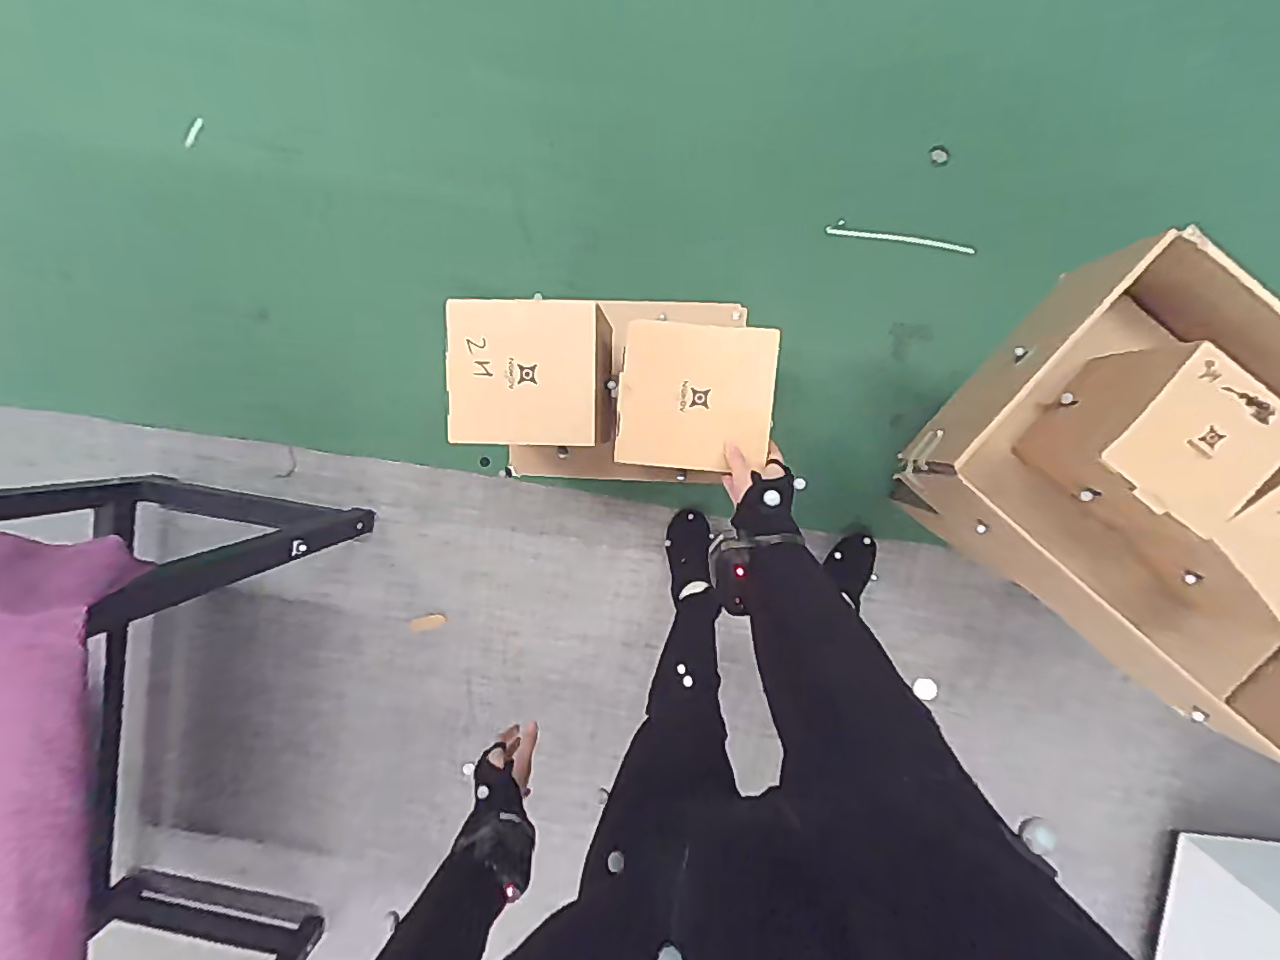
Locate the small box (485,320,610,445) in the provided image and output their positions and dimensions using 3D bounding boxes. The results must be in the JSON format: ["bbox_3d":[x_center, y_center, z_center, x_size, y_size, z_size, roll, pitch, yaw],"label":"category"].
[{"bbox_3d":[-0.140,-0.148,0.868,0.168,0.176,0.179,3,96,4],"label":"small box"}]
